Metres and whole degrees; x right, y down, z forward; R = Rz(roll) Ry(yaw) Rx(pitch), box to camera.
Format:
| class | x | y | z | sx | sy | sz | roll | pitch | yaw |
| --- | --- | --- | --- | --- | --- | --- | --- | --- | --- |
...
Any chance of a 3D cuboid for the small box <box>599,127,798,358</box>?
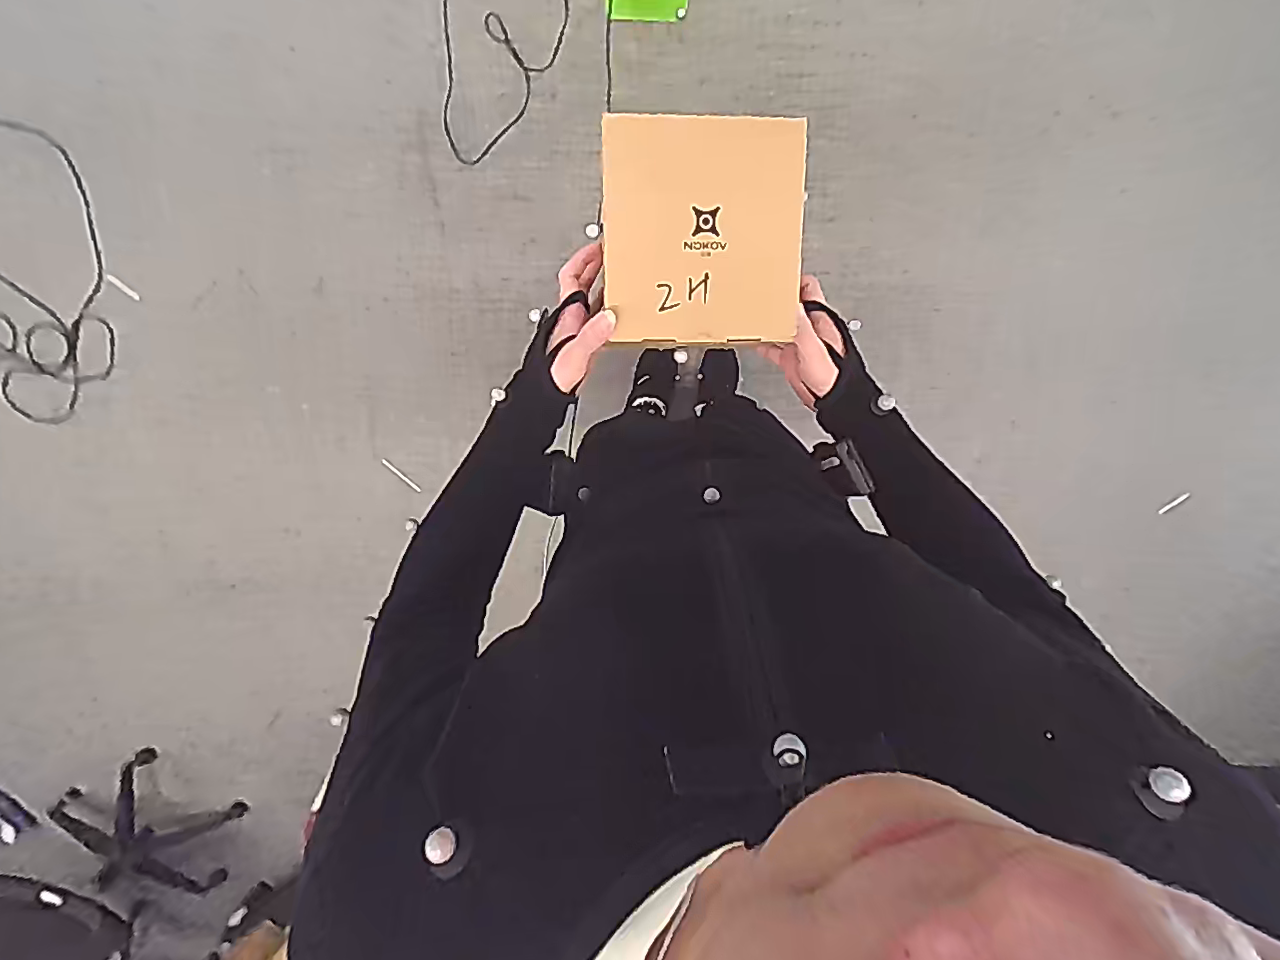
| class | x | y | z | sx | sy | sz | roll | pitch | yaw |
| --- | --- | --- | --- | --- | --- | --- | --- | --- | --- |
| small box | 0.043 | -0.214 | 0.535 | 0.168 | 0.176 | 0.179 | 0 | 101 | -4 |

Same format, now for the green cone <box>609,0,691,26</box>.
| class | x | y | z | sx | sy | sz | roll | pitch | yaw |
| --- | --- | --- | --- | --- | --- | --- | --- | --- | --- |
| green cone | 0.026 | -1.168 | 1.133 | 0.202 | 0.368 | 0.200 | 2 | 105 | 0 |
